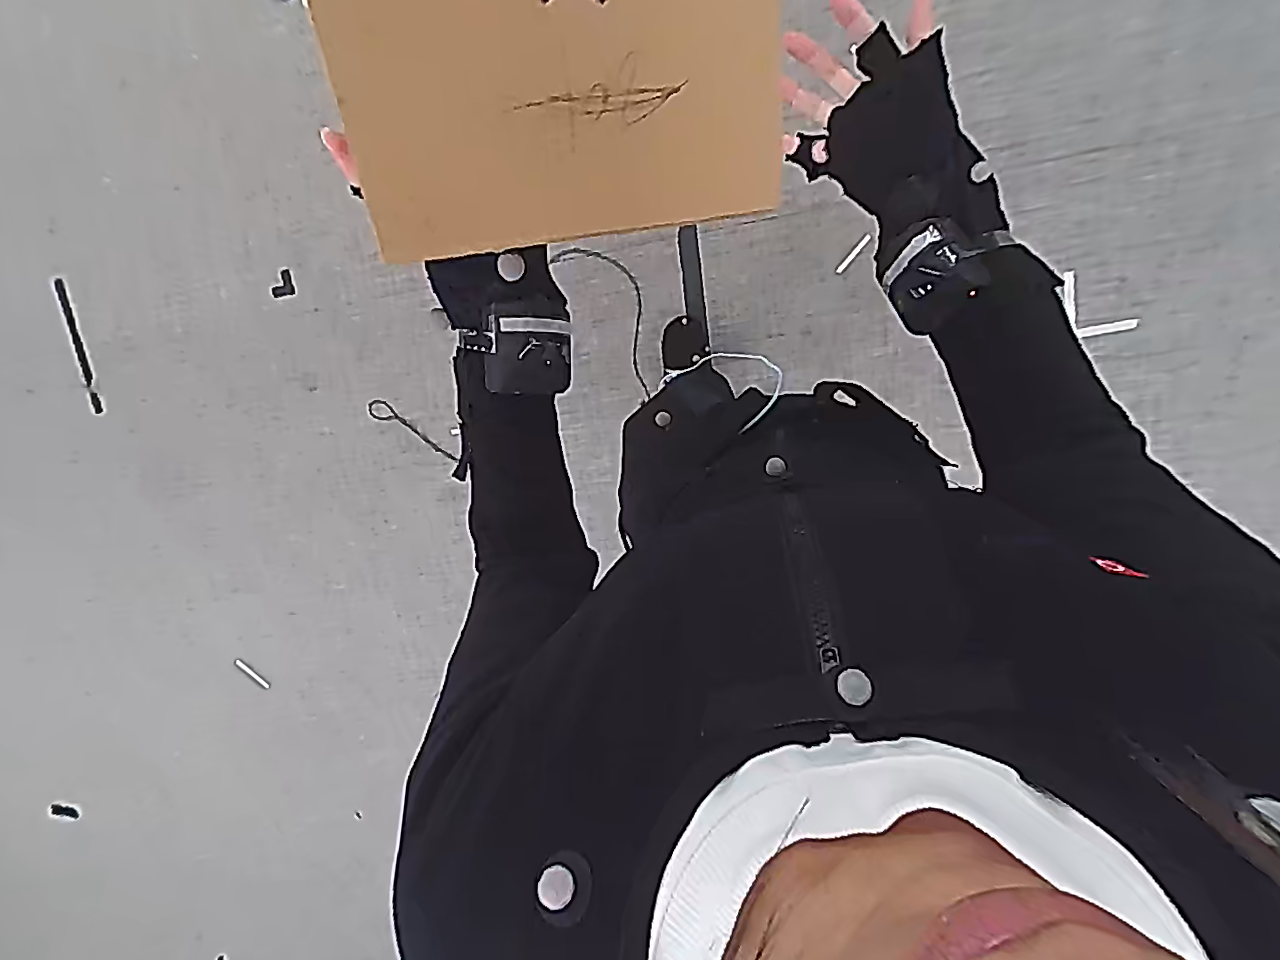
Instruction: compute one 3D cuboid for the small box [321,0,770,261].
[{"bbox_3d":[-0.056,-0.209,0.258,0.168,0.176,0.179,-16,116,-18],"label":"small box"}]
